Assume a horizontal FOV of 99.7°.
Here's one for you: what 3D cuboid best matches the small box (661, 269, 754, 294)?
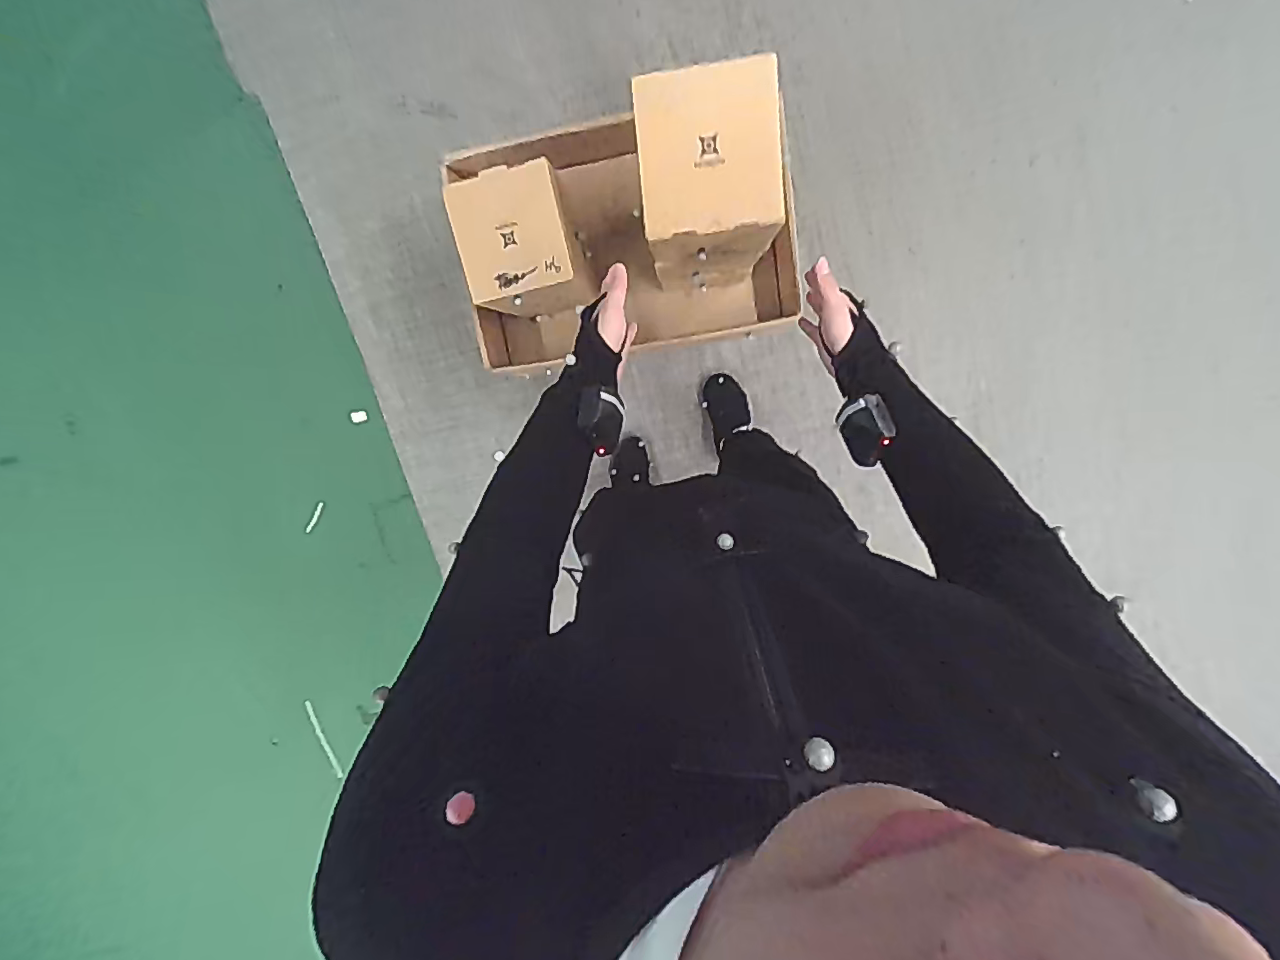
[{"bbox_3d":[0.117,-0.455,1.010,0.168,0.176,0.179,-4,102,5],"label":"small box"}]

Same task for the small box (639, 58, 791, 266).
[{"bbox_3d":[0.091,-0.389,0.693,0.168,0.176,0.179,-5,102,6],"label":"small box"}]

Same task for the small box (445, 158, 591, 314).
[{"bbox_3d":[-0.186,-0.381,0.878,0.168,0.176,0.179,-11,101,7],"label":"small box"}]

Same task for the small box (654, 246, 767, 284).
[{"bbox_3d":[0.101,-0.420,0.852,0.168,0.176,0.179,-5,102,5],"label":"small box"}]
